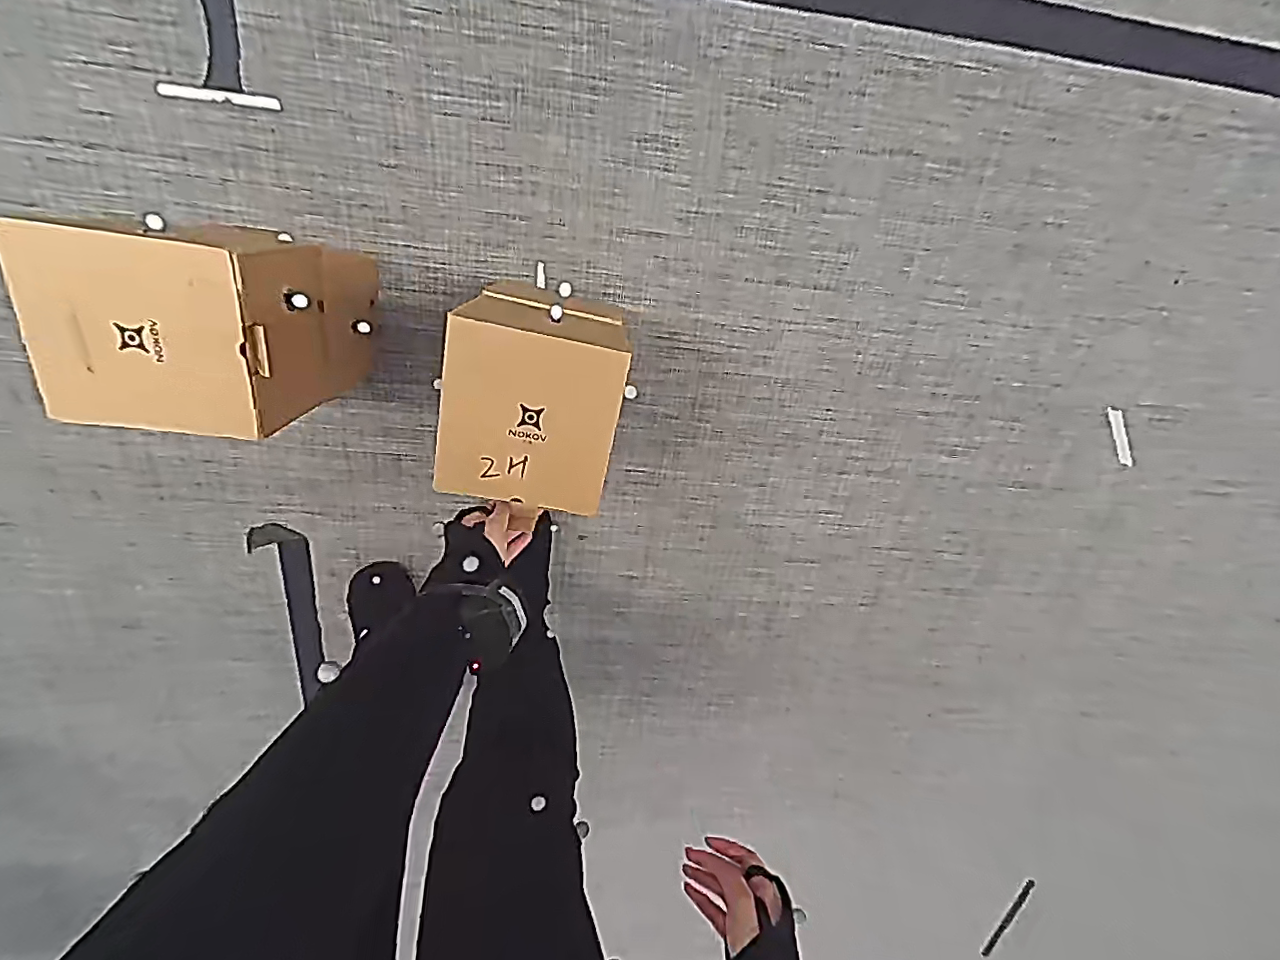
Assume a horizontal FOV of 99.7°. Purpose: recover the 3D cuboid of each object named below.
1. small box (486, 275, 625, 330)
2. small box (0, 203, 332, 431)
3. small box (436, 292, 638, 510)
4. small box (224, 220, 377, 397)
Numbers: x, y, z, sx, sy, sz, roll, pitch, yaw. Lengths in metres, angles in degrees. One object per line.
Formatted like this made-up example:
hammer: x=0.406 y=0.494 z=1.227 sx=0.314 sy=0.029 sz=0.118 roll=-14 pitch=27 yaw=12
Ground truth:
small box: x=-0.121 y=-0.164 z=0.729 sx=0.168 sy=0.176 sz=0.179 roll=10 pitch=113 yaw=-10
small box: x=-0.419 y=-0.160 z=0.521 sx=0.179 sy=0.176 sz=0.168 roll=6 pitch=114 yaw=-8
small box: x=-0.107 y=-0.093 z=0.580 sx=0.168 sy=0.176 sz=0.179 roll=11 pitch=113 yaw=-10
small box: x=-0.444 y=-0.218 z=0.673 sx=0.179 sy=0.176 sz=0.168 roll=9 pitch=113 yaw=-11
